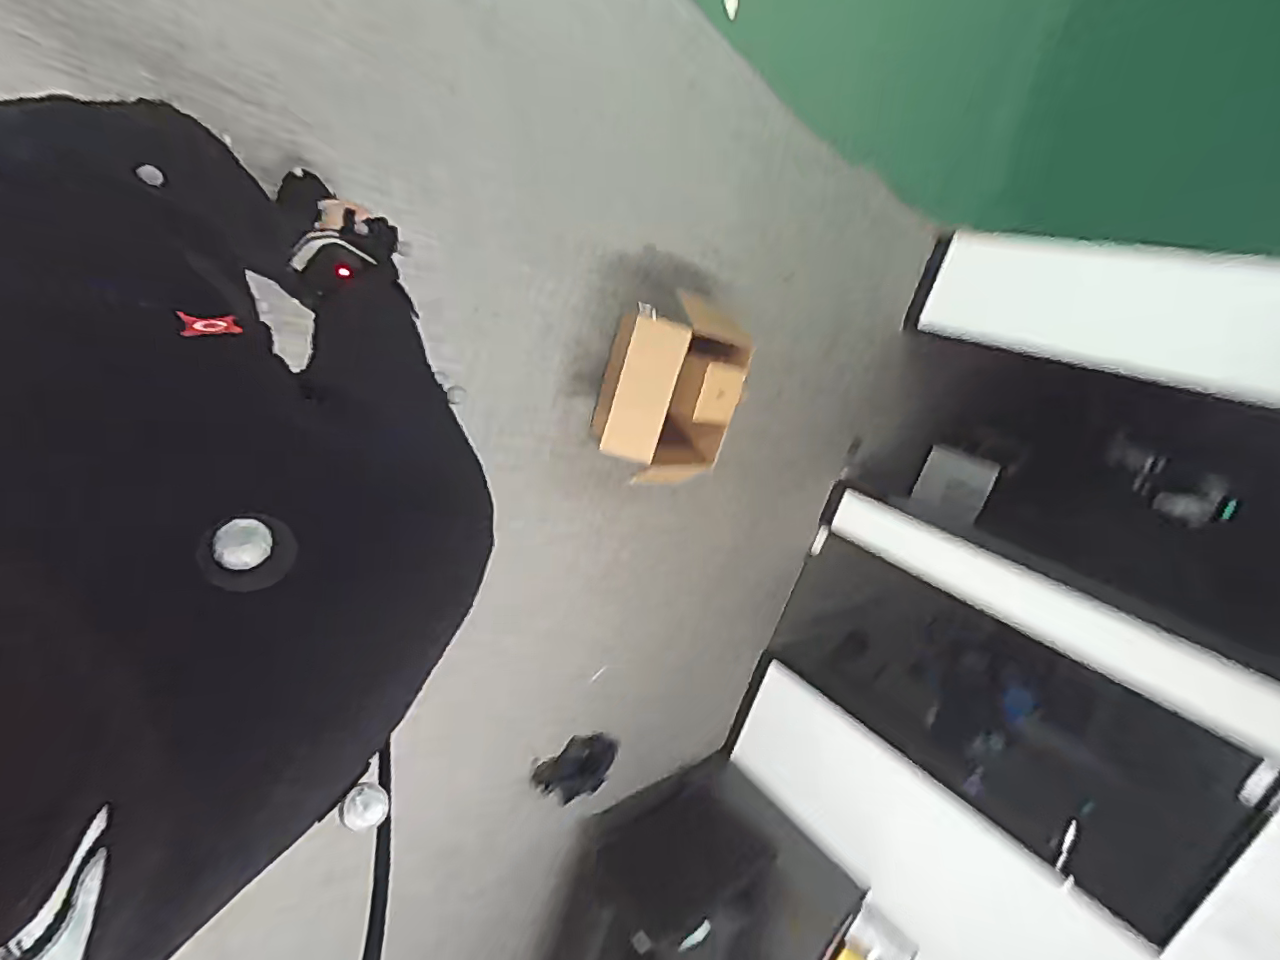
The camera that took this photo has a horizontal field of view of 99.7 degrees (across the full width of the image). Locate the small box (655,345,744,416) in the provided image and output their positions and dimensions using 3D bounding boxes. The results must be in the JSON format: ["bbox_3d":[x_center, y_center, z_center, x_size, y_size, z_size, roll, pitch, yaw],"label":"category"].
[{"bbox_3d":[0.177,-0.303,1.644,0.179,0.176,0.168,-3,117,-42],"label":"small box"}]
